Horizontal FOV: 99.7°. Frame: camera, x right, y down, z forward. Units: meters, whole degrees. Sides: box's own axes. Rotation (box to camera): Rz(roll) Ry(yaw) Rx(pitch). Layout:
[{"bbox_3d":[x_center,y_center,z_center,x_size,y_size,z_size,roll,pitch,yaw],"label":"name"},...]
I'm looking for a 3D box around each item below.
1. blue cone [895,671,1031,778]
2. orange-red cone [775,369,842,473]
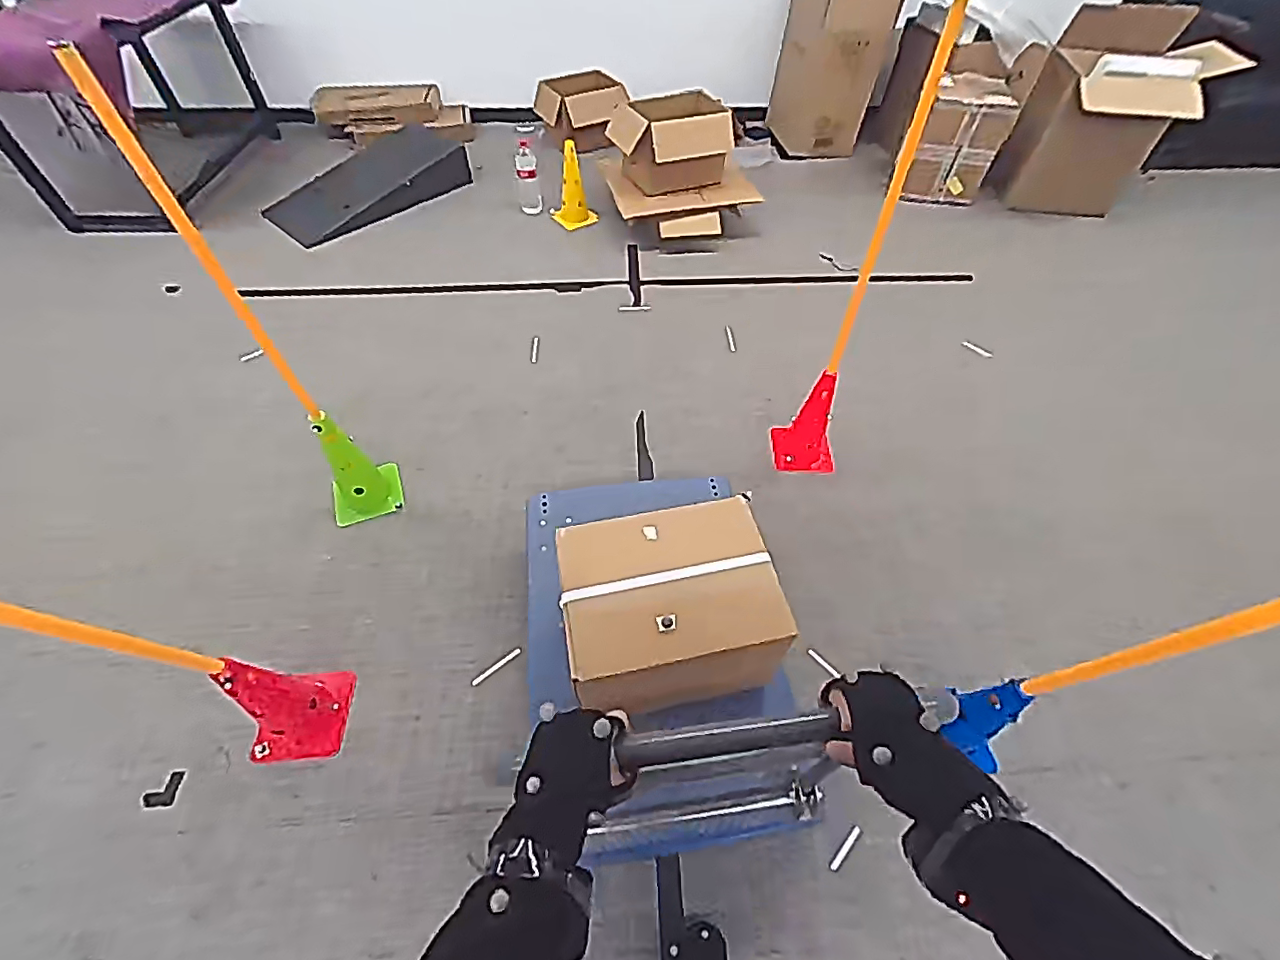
[{"bbox_3d":[0.741,0.512,1.187,0.193,0.380,0.192,-5,52,-5],"label":"blue cone"},{"bbox_3d":[0.570,-0.208,1.718,0.199,0.360,0.198,4,53,1],"label":"orange-red cone"}]
